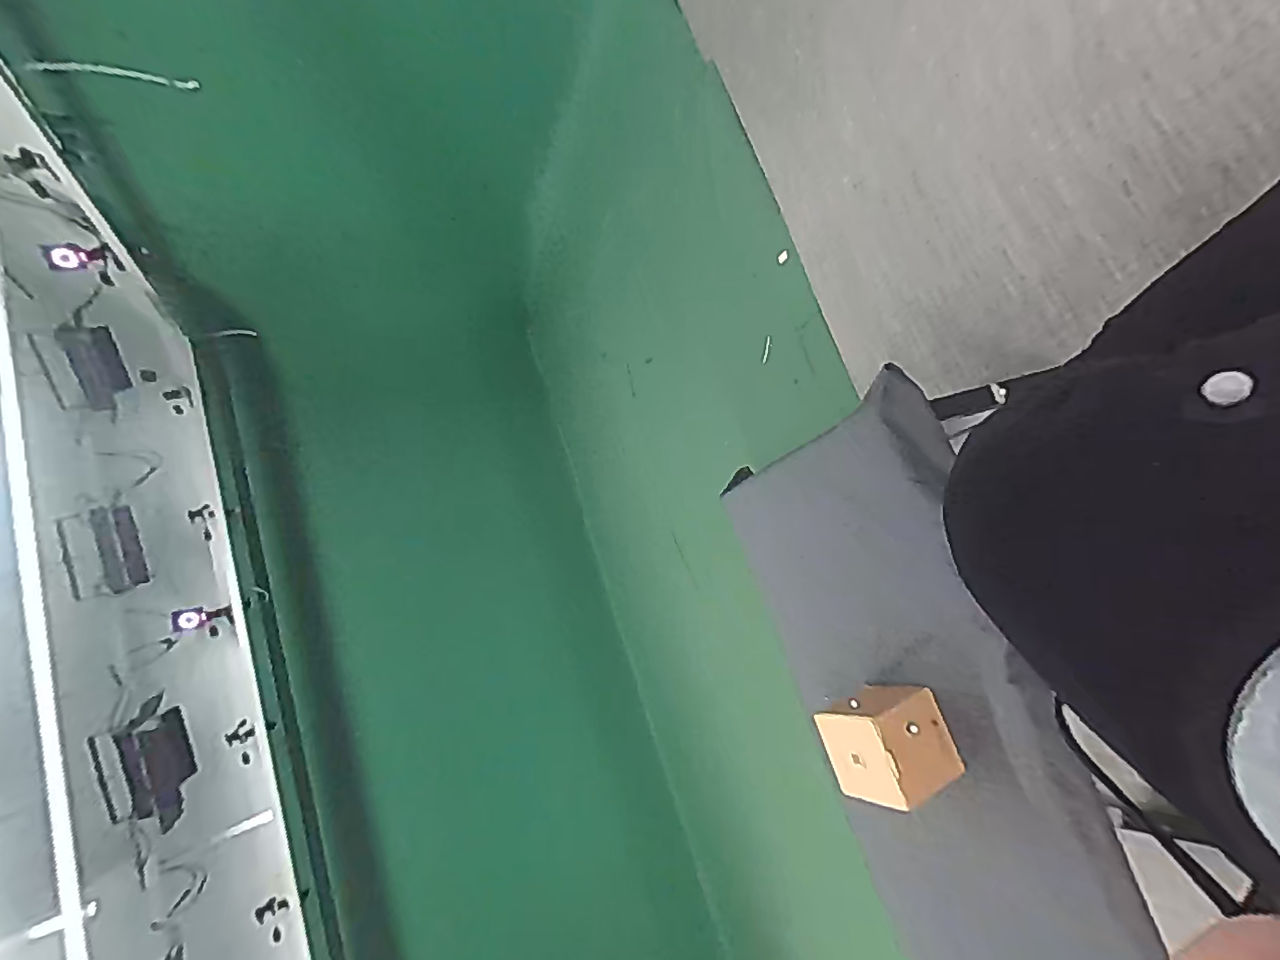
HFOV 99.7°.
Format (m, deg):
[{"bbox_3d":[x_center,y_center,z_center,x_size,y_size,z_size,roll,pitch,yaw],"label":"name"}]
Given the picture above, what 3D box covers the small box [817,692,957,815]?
[{"bbox_3d":[0.502,0.539,1.093,0.179,0.176,0.168,-44,62,62],"label":"small box"}]
